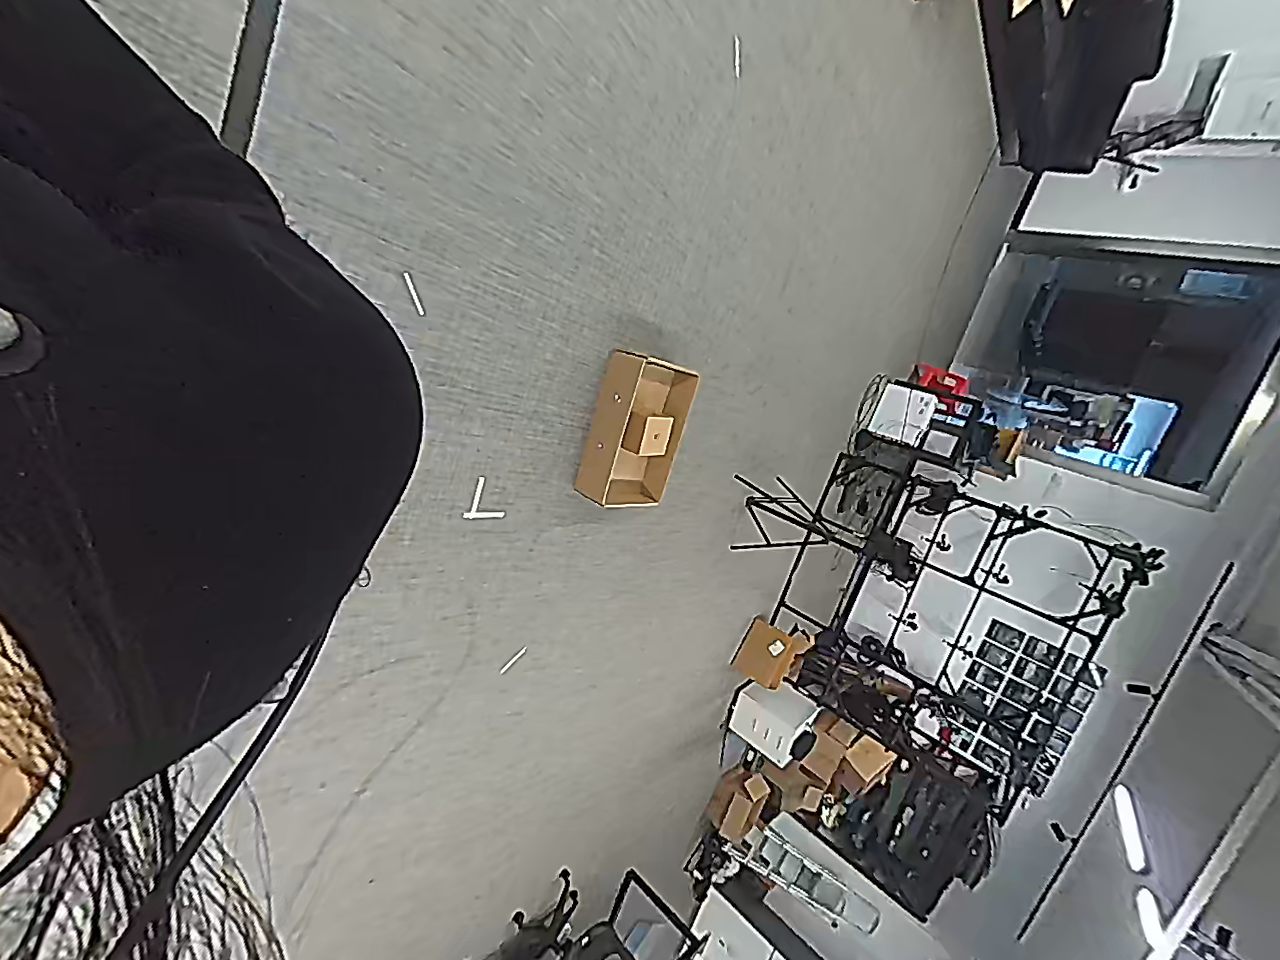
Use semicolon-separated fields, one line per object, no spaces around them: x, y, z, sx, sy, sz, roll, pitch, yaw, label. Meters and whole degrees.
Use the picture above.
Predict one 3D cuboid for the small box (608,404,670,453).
-0.006;-0.218;2.259;0.179;0.176;0.168;-6;115;-49;small box
